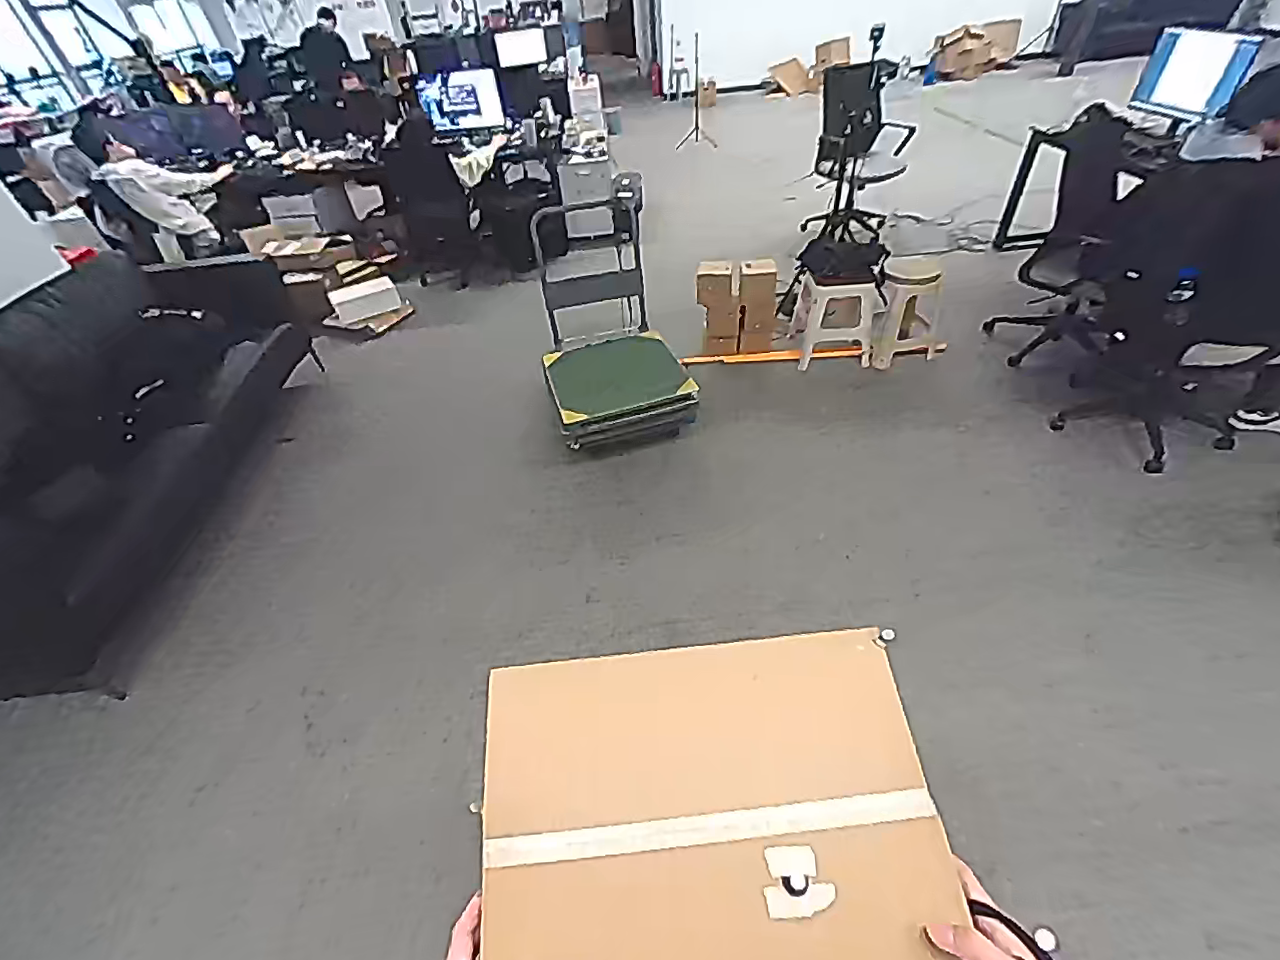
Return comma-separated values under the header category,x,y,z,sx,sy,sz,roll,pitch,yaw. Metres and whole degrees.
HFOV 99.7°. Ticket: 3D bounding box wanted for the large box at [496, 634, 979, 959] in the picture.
category,x,y,z,sx,sy,sz,roll,pitch,yaw
large box,0.071,0.391,0.619,0.408,0.320,0.320,-6,62,-1
